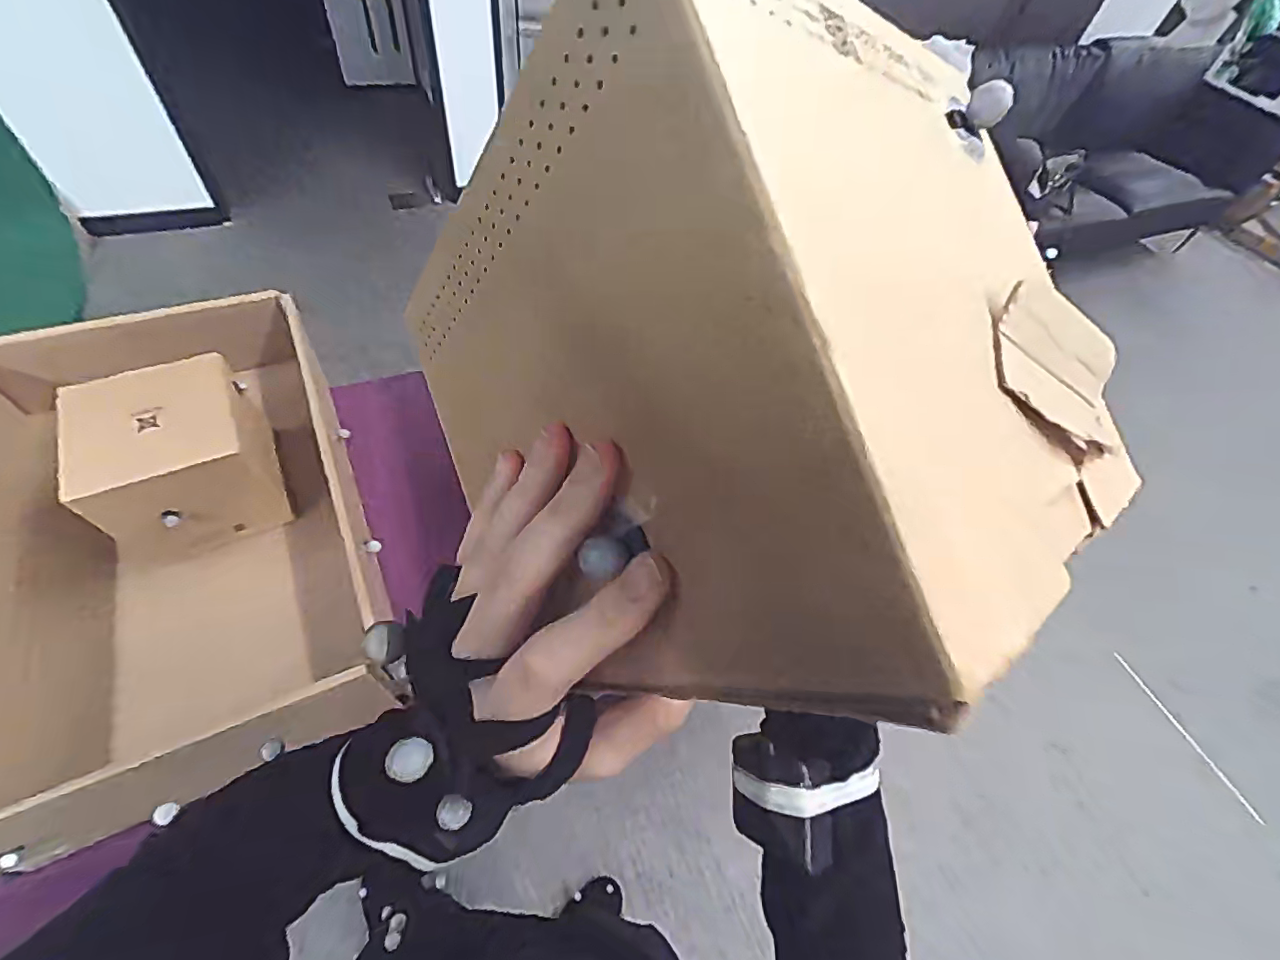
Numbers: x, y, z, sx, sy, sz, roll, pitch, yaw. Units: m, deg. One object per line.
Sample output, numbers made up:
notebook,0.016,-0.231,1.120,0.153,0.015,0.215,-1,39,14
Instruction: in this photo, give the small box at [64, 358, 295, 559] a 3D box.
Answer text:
small box,-0.575,-0.019,0.694,0.168,0.176,0.179,-22,62,-21

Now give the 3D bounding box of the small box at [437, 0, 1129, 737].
small box,0.040,-0.028,0.214,0.168,0.179,0.176,-15,85,-39
